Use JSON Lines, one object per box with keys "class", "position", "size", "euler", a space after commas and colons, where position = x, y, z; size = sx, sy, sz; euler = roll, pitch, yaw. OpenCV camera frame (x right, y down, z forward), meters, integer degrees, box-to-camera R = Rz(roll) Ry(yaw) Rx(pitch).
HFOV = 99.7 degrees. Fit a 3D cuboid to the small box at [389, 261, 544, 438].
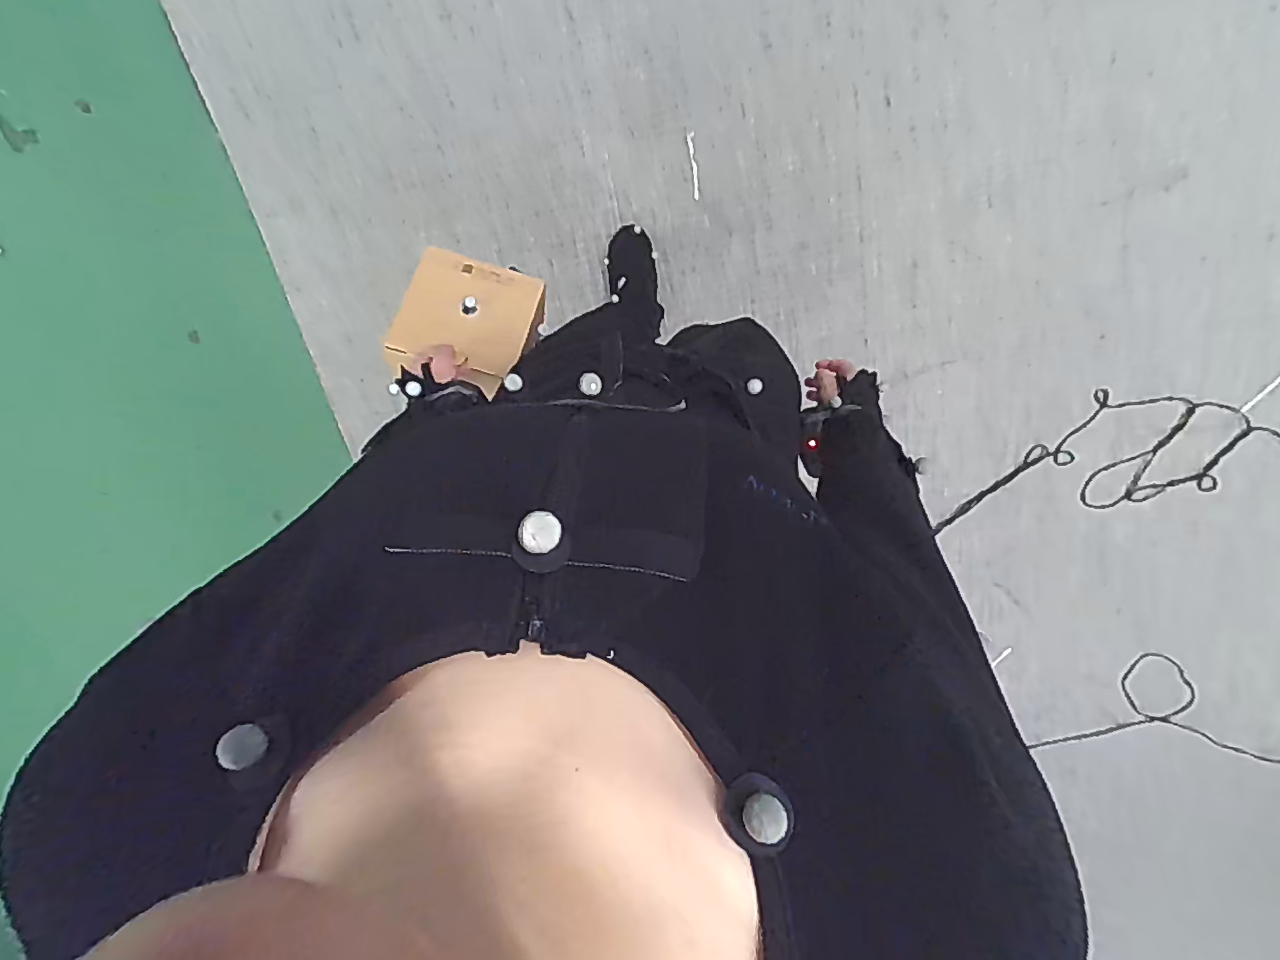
{"class": "small box", "position": [-0.242, -0.187, 0.795], "size": [0.168, 0.179, 0.176], "euler": [13, 69, -6]}
